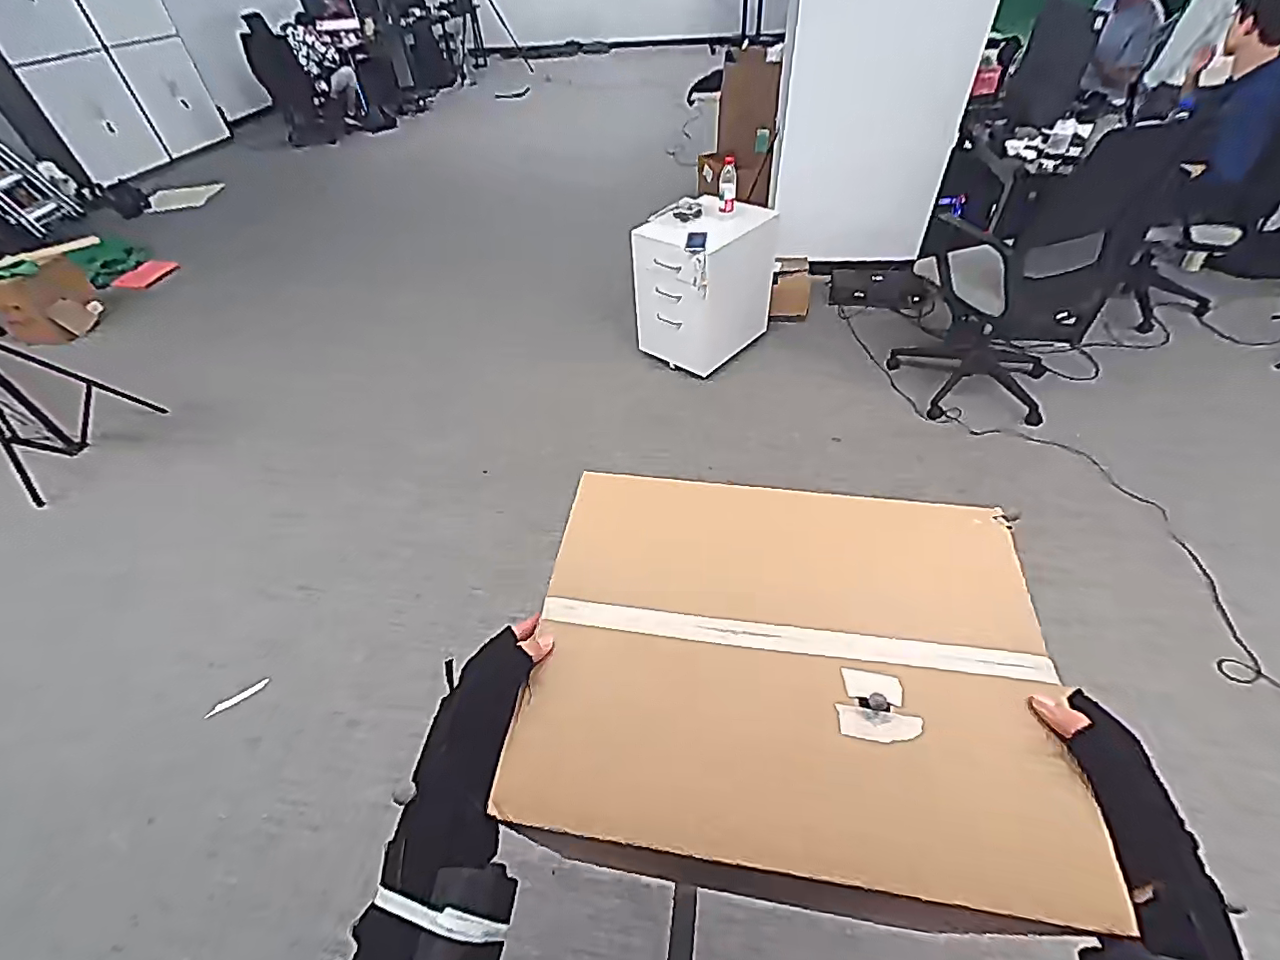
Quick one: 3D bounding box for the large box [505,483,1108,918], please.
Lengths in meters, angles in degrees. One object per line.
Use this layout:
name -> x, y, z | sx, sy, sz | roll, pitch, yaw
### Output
large box -> 0.124, 0.229, 0.566 | 0.408, 0.320, 0.320 | 5, 52, 8
